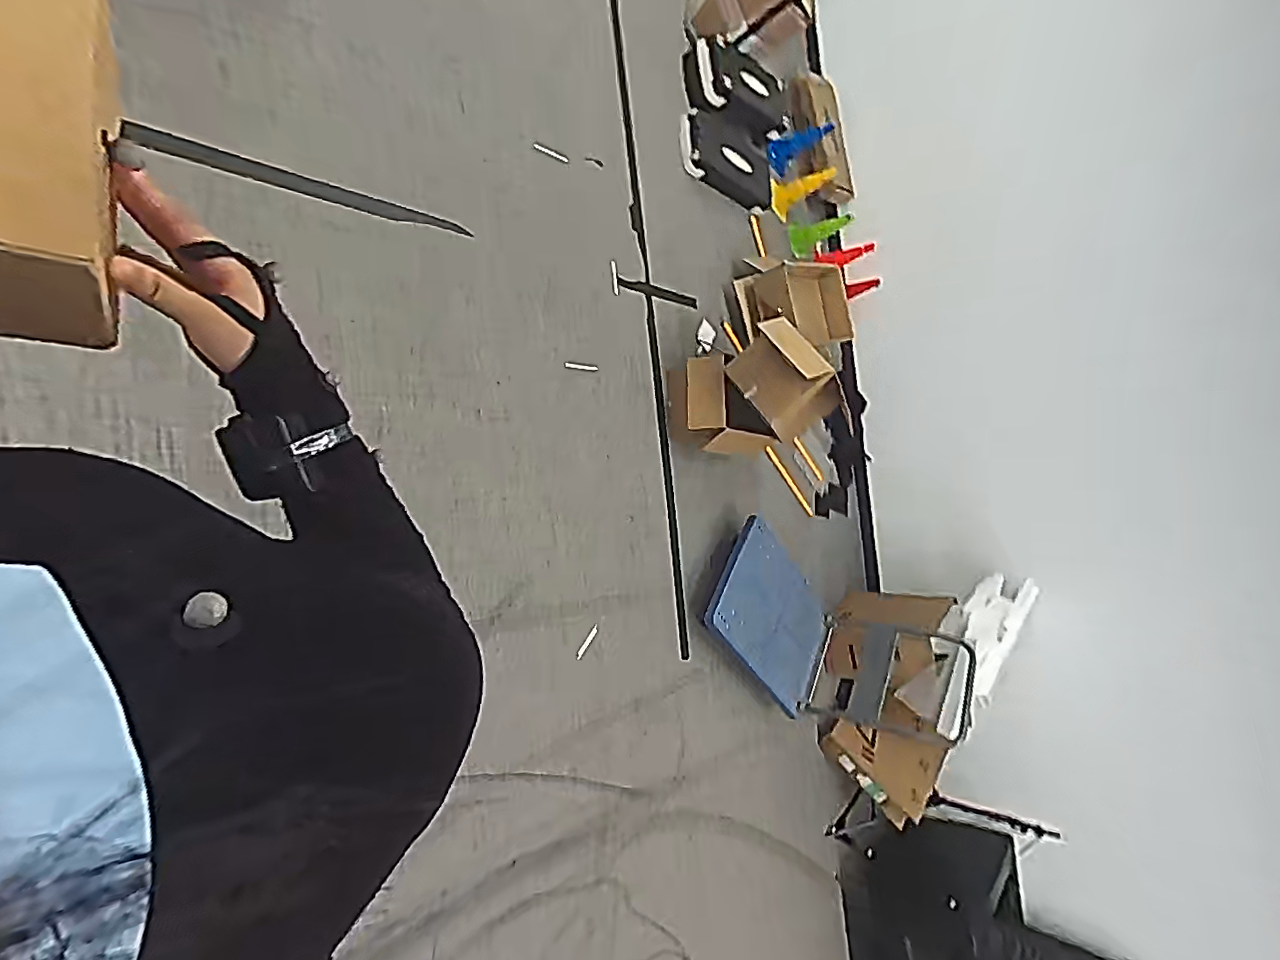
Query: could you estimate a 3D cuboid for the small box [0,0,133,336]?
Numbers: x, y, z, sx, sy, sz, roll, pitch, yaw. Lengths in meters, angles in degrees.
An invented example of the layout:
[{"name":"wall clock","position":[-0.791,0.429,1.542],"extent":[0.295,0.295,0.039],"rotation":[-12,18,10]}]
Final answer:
[{"name":"small box","position":[-0.369,-0.189,0.269],"extent":[0.168,0.176,0.179],"rotation":[-1,88,-42]}]
